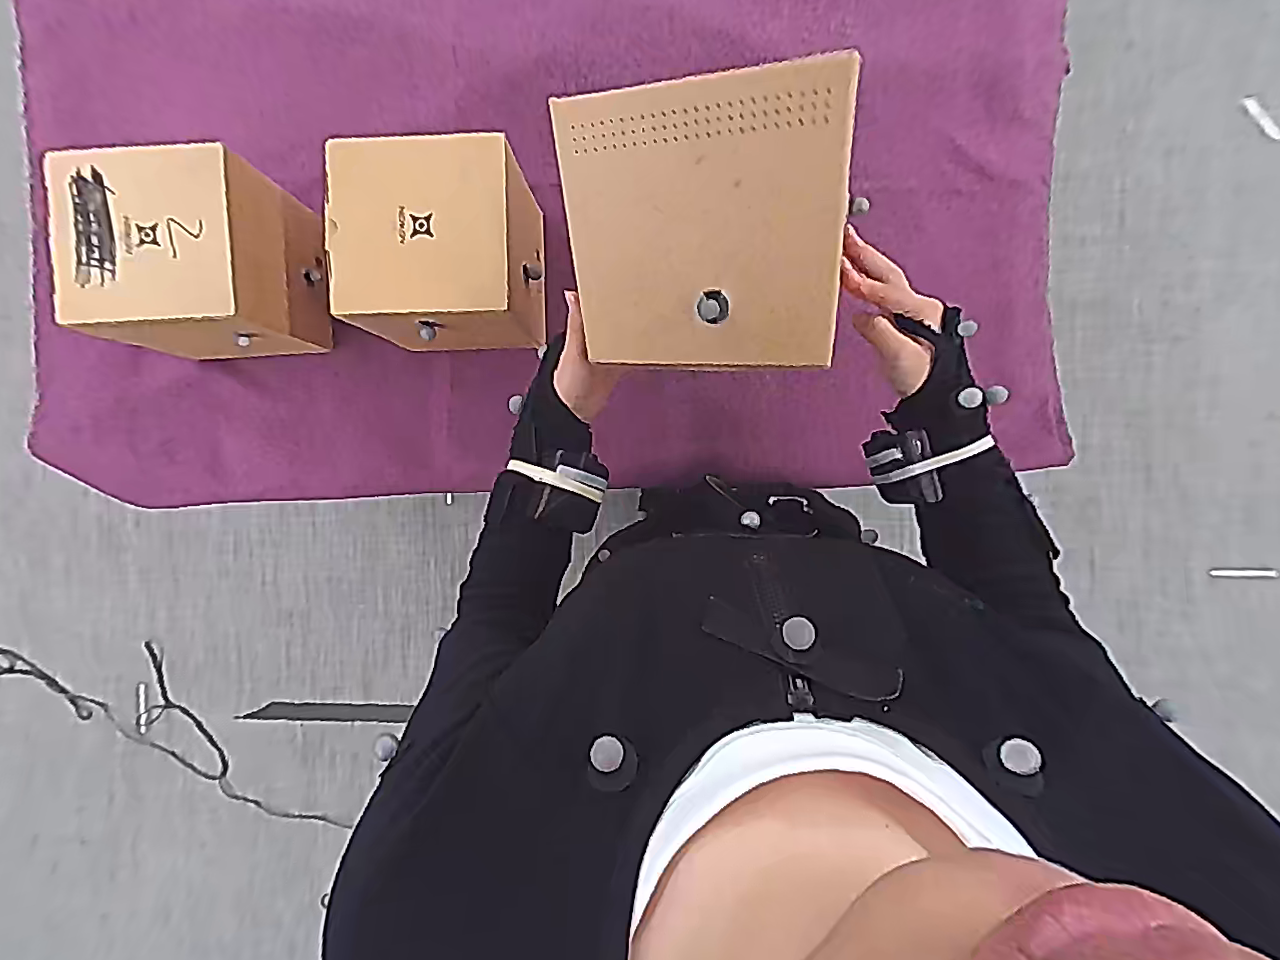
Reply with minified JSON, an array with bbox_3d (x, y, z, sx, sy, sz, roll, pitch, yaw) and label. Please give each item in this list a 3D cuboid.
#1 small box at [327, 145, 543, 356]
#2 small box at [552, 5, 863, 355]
[{"bbox_3d":[-0.206,-0.234,0.591,0.179,0.176,0.168,-1,91,3],"label":"small box"},{"bbox_3d":[0.059,-0.197,0.400,0.179,0.168,0.176,0,108,30],"label":"small box"}]
